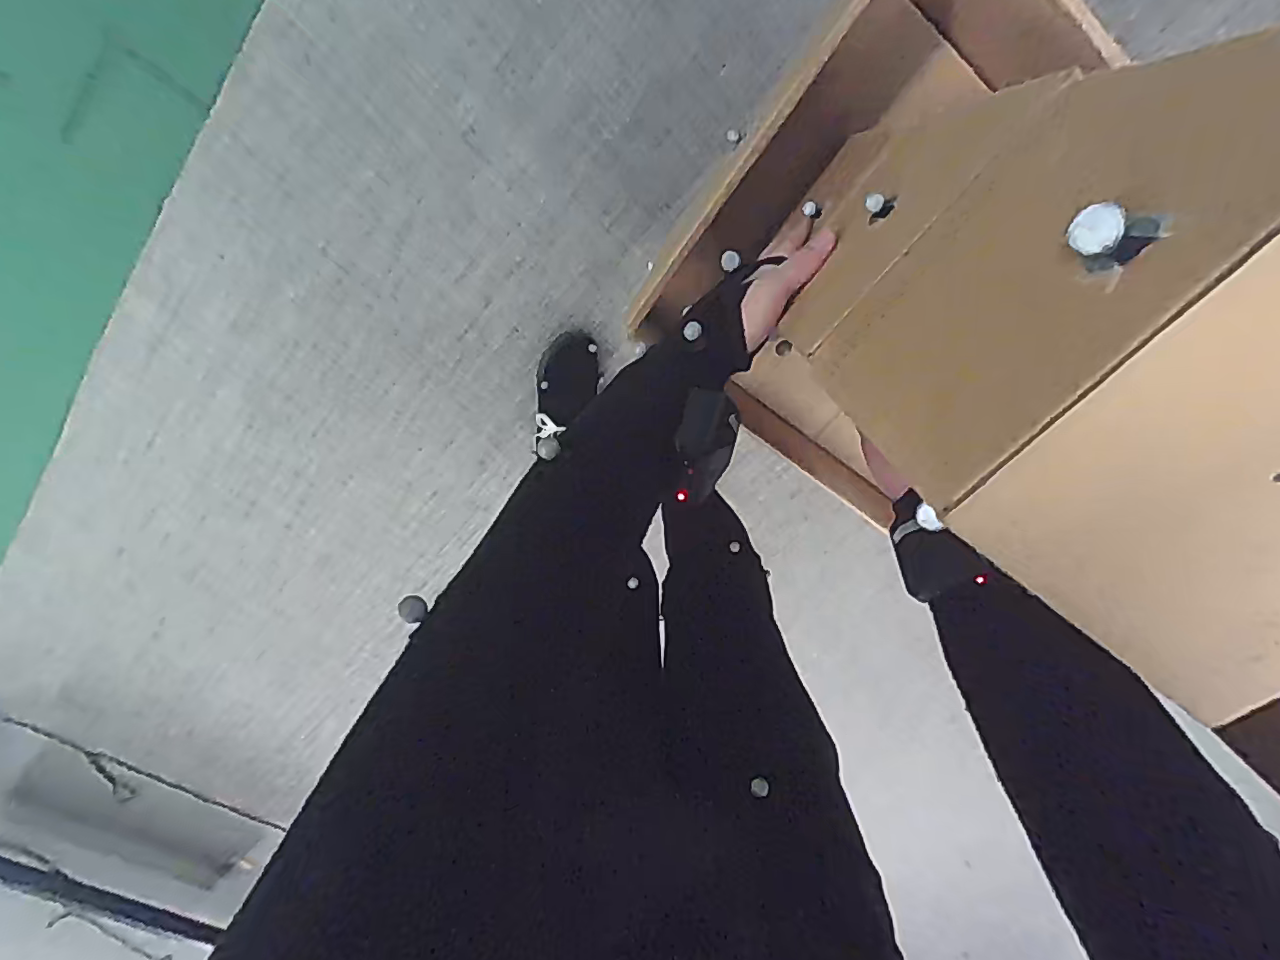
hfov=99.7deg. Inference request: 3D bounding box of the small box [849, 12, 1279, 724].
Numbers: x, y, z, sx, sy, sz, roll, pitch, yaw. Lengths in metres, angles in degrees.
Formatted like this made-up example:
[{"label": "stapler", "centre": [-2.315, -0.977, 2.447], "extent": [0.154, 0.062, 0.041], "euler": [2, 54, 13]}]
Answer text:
[{"label": "small box", "centre": [0.214, -0.047, 0.225], "extent": [0.168, 0.176, 0.179], "euler": [34, 113, -15]}]
